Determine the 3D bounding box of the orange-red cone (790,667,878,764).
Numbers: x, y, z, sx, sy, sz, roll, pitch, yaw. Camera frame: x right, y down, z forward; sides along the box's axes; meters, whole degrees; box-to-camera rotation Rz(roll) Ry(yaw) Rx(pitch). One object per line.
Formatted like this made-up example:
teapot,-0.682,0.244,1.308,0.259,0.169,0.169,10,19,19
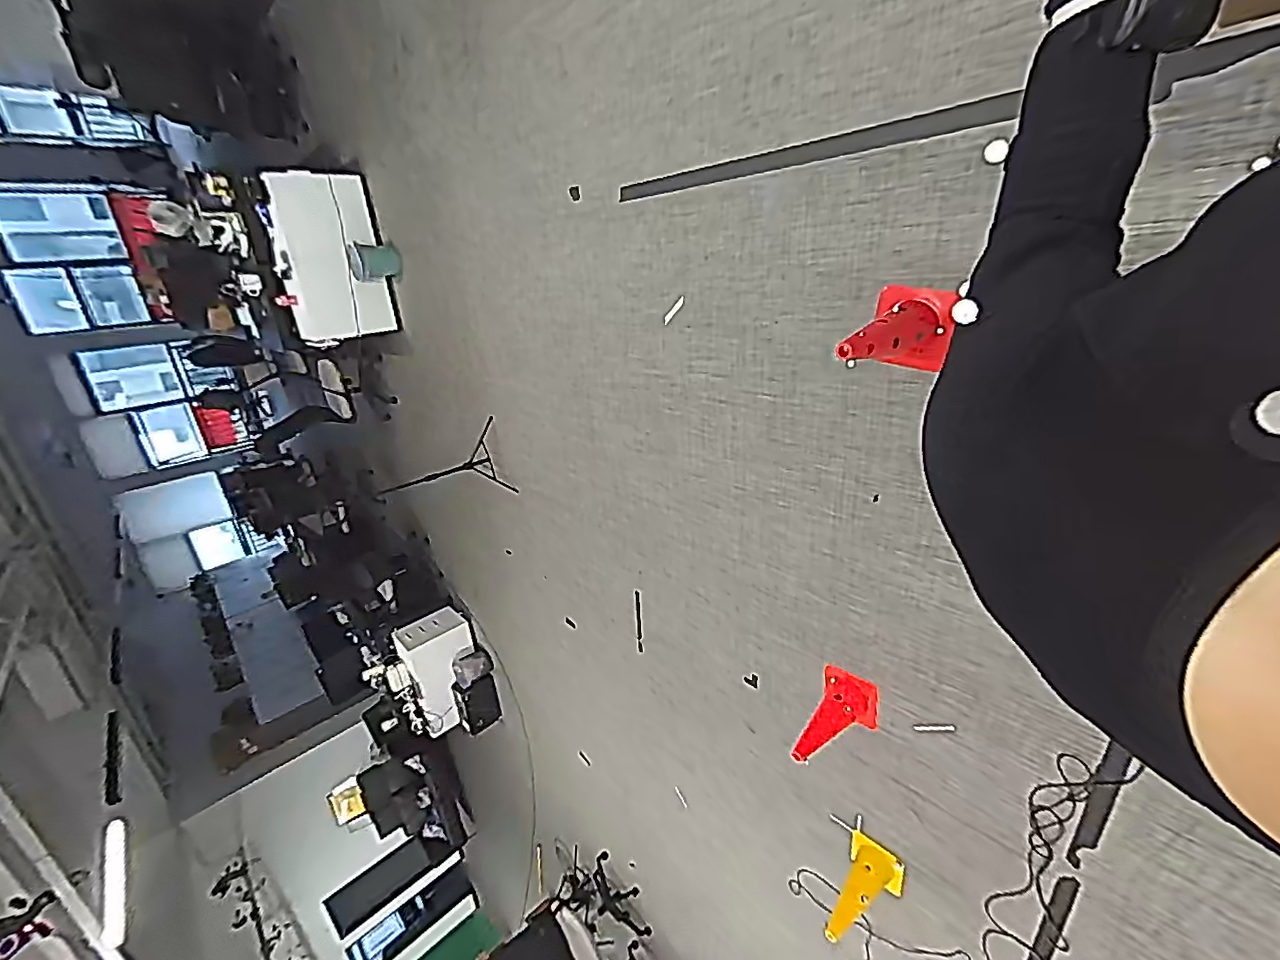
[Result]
orange-red cone,0.630,0.843,1.842,0.198,0.360,0.199,17,122,46

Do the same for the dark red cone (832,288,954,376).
dark red cone,0.568,-0.332,1.287,0.201,0.394,0.202,25,126,40

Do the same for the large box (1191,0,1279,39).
large box,0.549,-0.467,0.231,0.408,0.320,0.320,16,123,44
